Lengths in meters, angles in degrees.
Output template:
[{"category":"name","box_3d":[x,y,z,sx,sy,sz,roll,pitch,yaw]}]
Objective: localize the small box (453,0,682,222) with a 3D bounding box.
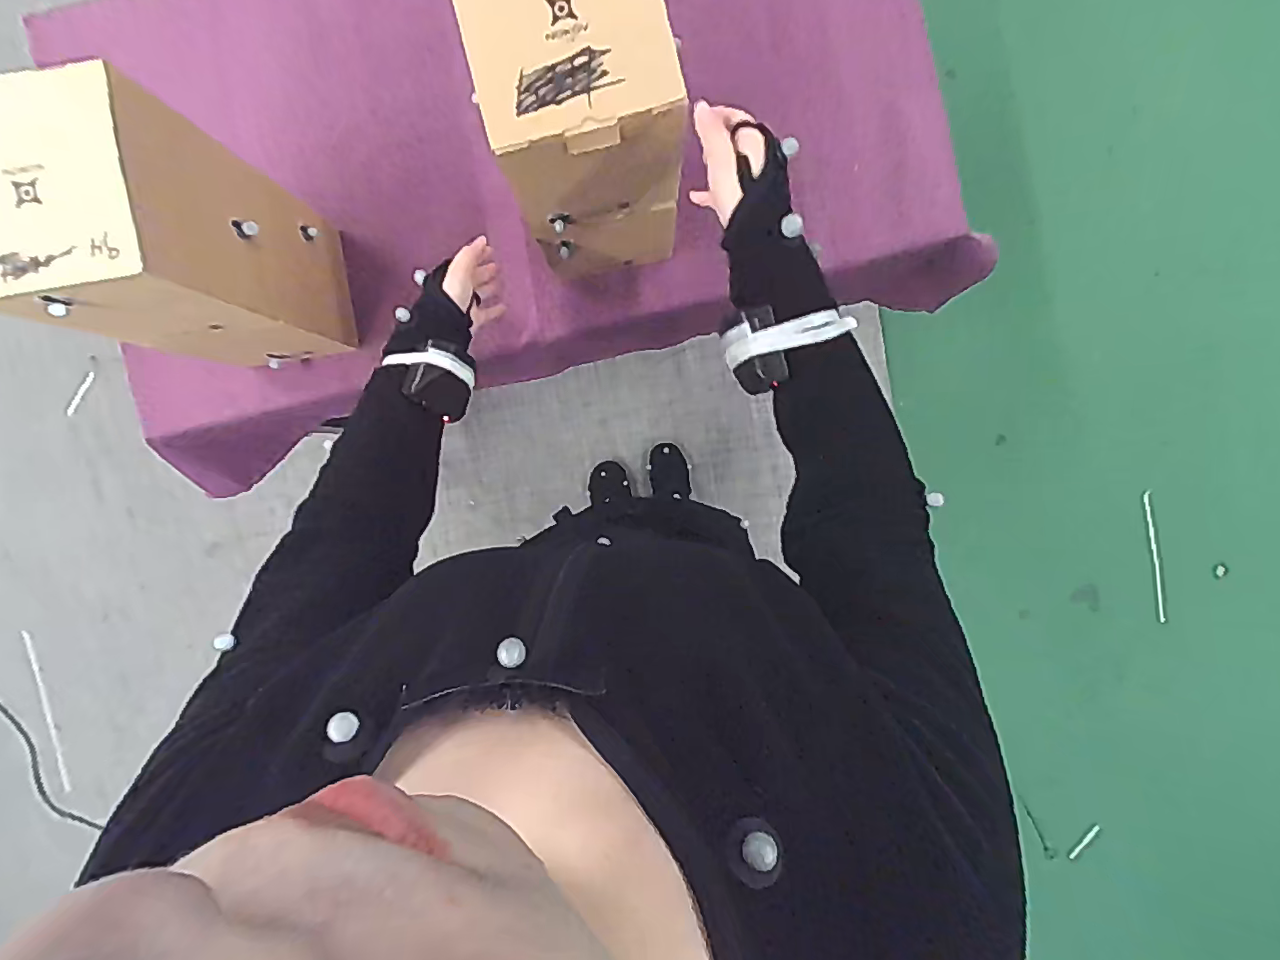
[{"category":"small box","box_3d":[-0.060,-0.371,0.514,0.168,0.176,0.179,-14,91,1]}]

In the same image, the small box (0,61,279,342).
[{"category":"small box","box_3d":[-0.494,-0.249,0.526,0.168,0.176,0.179,-8,92,3]}]

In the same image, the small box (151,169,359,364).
[{"category":"small box","box_3d":[-0.491,-0.258,0.691,0.168,0.176,0.179,-8,93,2]}]
